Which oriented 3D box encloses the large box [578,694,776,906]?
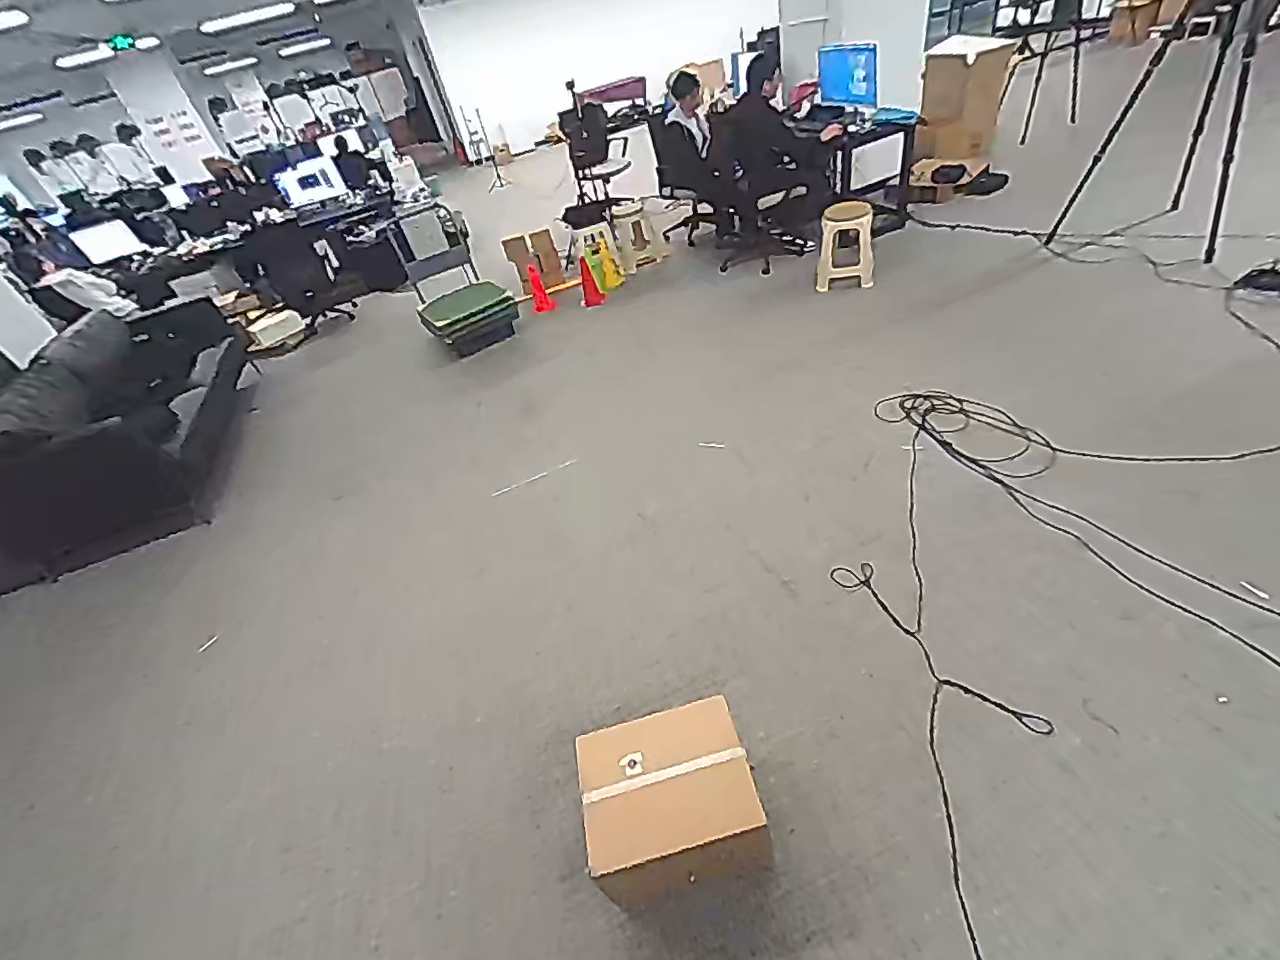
[{"bbox_3d":[0.093,0.815,1.379,0.408,0.320,0.320,-17,39,0],"label":"large box"}]
